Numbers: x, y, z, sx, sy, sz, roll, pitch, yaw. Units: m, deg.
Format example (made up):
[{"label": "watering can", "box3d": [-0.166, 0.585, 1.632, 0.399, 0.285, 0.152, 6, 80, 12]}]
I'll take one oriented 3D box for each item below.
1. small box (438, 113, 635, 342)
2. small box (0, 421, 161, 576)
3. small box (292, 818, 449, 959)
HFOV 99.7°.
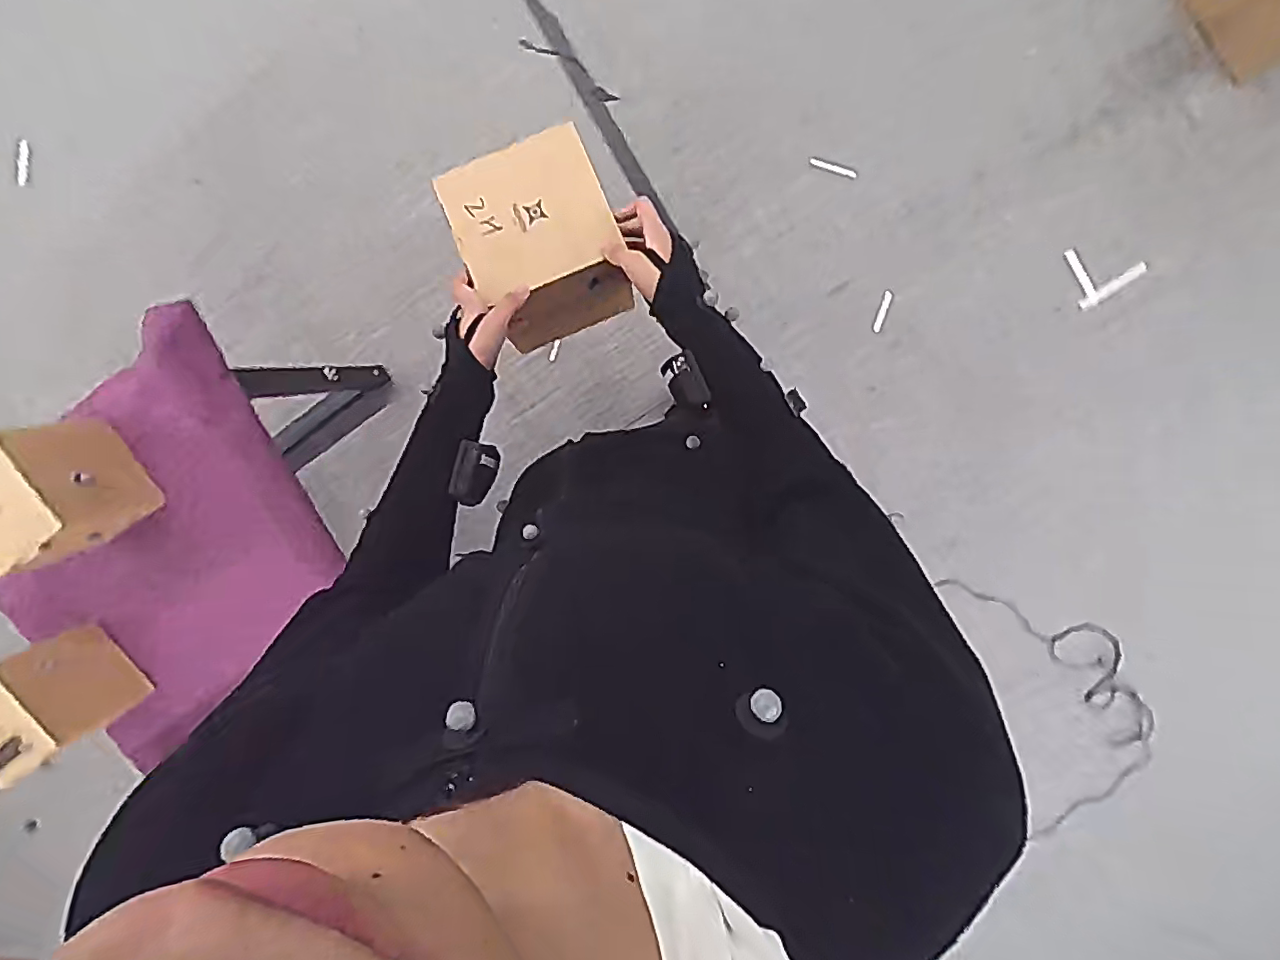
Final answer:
[{"label": "small box", "box3d": [-0.113, -0.295, 0.672, 0.179, 0.176, 0.168, -22, 86, 1]}, {"label": "small box", "box3d": [-0.964, 0.021, 0.891, 0.168, 0.176, 0.179, -30, 99, 10]}, {"label": "small box", "box3d": [-0.487, 0.782, 1.013, 0.179, 0.176, 0.168, -33, 97, 13]}]
